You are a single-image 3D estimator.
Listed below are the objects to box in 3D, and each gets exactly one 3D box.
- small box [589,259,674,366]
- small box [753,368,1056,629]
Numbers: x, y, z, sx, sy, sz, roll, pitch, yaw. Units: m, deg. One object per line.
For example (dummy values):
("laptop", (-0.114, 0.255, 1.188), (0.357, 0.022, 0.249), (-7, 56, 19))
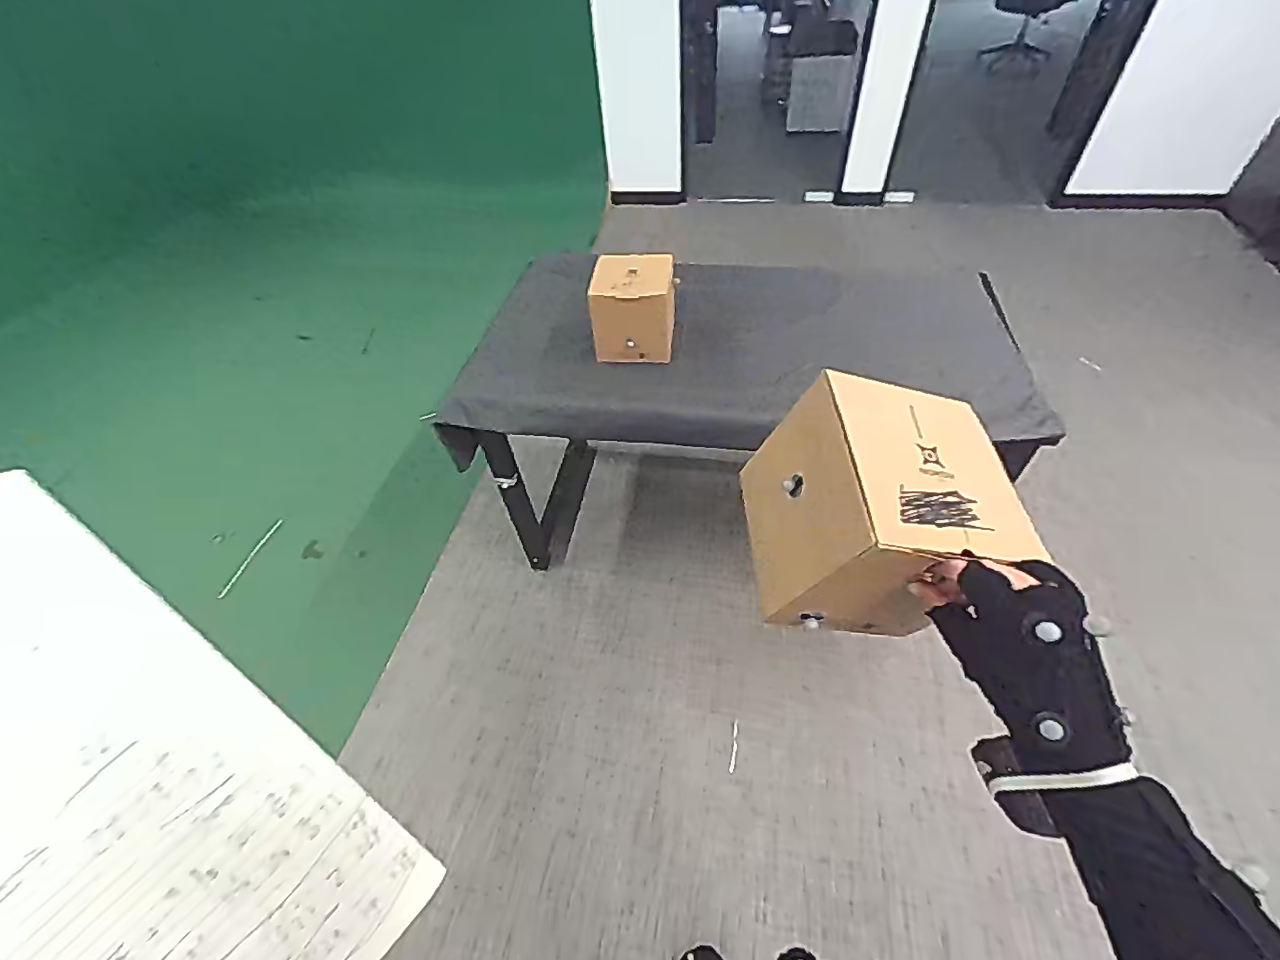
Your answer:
("small box", (-0.012, -0.376, 1.213), (0.168, 0.176, 0.179), (2, 49, 7))
("small box", (0.224, 0.028, 0.513), (0.168, 0.176, 0.179), (10, 53, -15))
